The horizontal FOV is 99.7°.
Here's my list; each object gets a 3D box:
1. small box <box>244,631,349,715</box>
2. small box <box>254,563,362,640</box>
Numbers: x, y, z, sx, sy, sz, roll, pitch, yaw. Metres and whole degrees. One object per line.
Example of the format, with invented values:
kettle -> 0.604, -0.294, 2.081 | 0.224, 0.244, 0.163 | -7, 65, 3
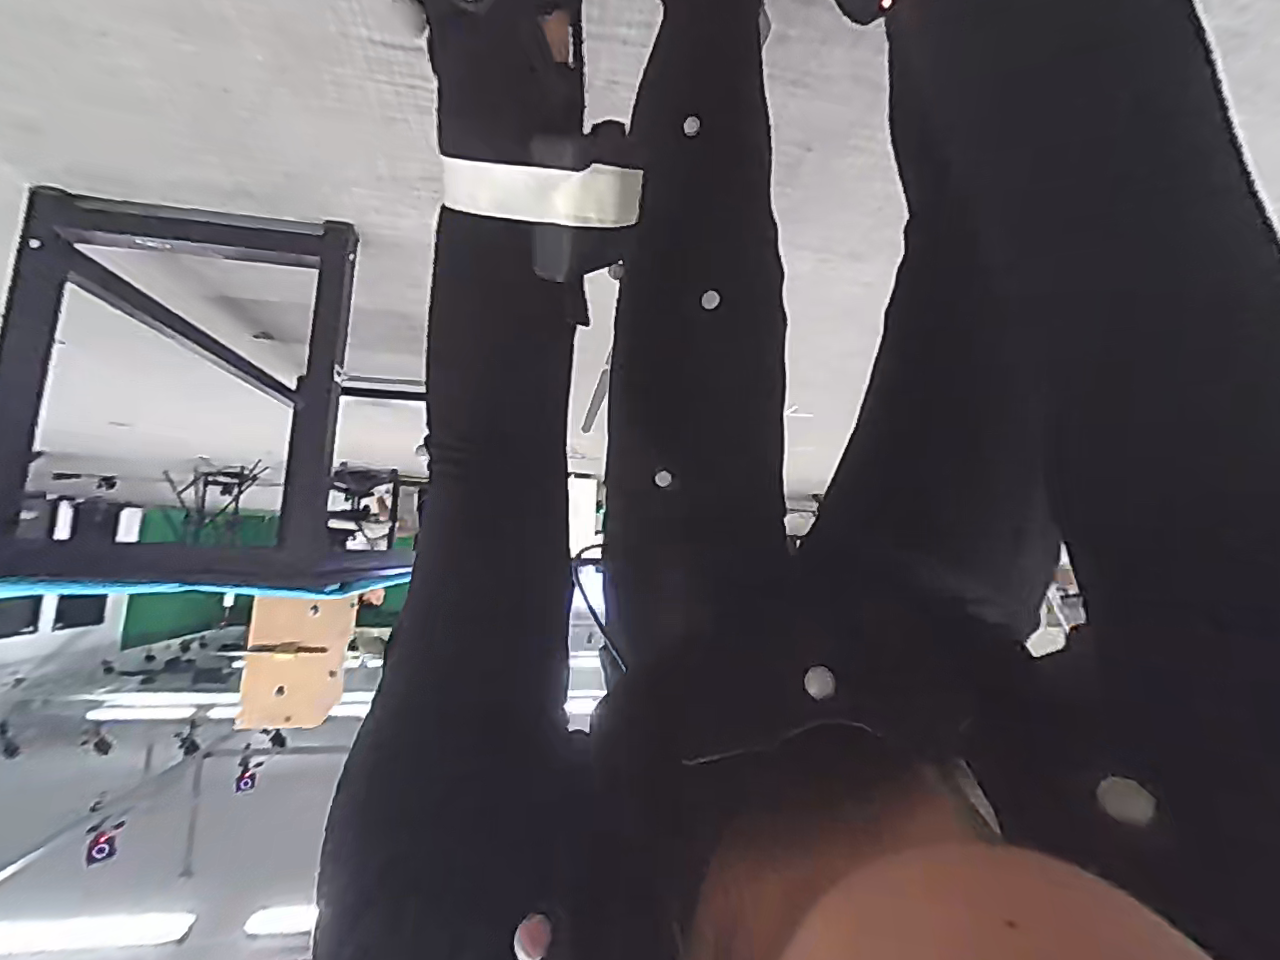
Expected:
small box -> -0.826, 0.459, 1.310 | 0.168, 0.176, 0.179 | 5, 175, -11
small box -> -0.815, 0.298, 1.338 | 0.179, 0.176, 0.168 | 4, 172, -10
